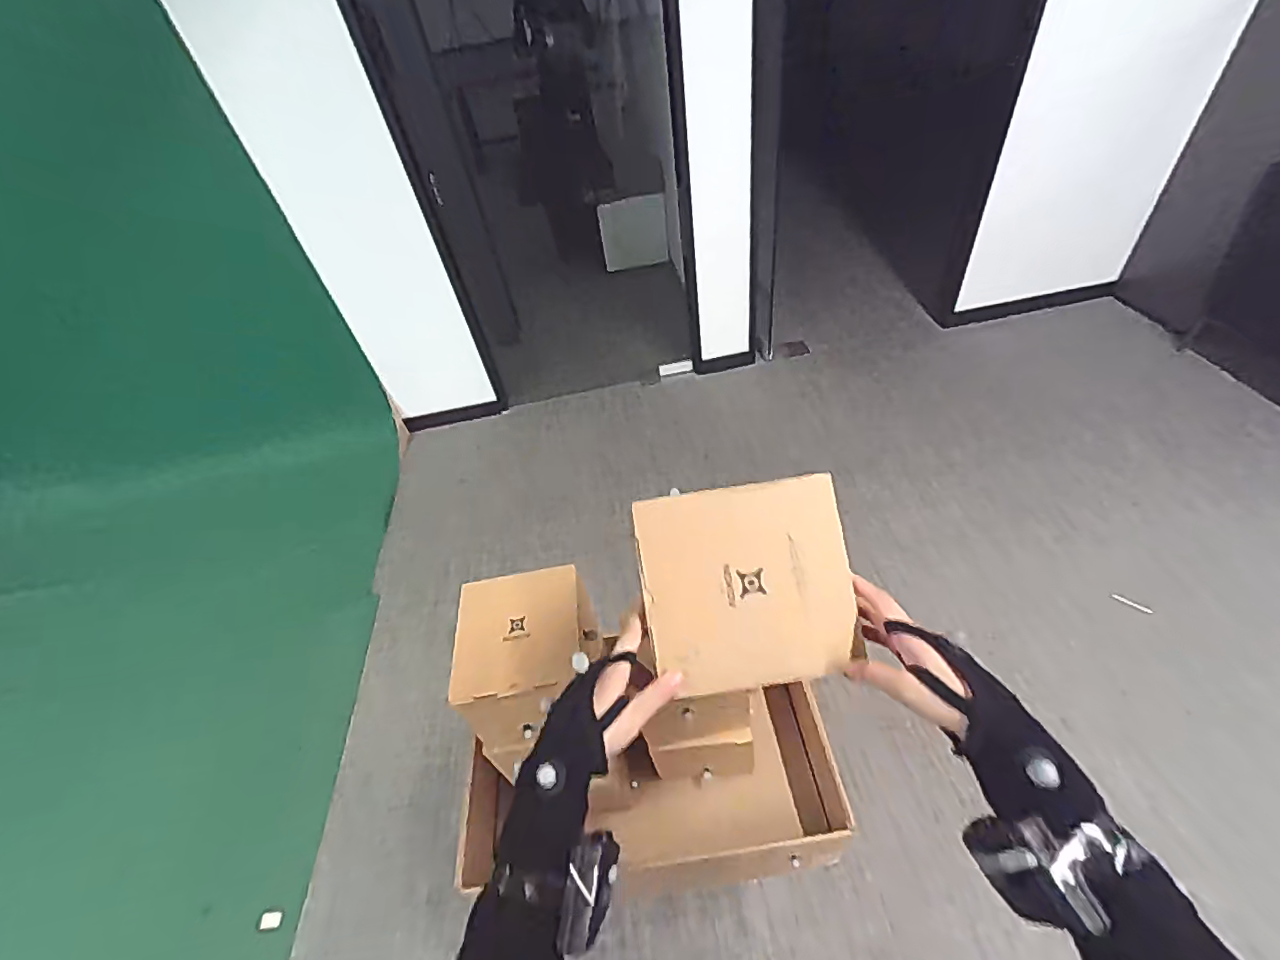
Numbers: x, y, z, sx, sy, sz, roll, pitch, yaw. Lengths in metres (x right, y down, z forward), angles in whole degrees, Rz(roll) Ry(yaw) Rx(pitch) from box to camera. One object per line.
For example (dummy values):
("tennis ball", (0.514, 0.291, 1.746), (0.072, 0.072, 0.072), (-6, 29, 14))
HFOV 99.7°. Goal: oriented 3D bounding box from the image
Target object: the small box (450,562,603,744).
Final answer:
("small box", (-0.150, 0.245, 0.766), (0.168, 0.176, 0.179), (-10, 45, 0))
